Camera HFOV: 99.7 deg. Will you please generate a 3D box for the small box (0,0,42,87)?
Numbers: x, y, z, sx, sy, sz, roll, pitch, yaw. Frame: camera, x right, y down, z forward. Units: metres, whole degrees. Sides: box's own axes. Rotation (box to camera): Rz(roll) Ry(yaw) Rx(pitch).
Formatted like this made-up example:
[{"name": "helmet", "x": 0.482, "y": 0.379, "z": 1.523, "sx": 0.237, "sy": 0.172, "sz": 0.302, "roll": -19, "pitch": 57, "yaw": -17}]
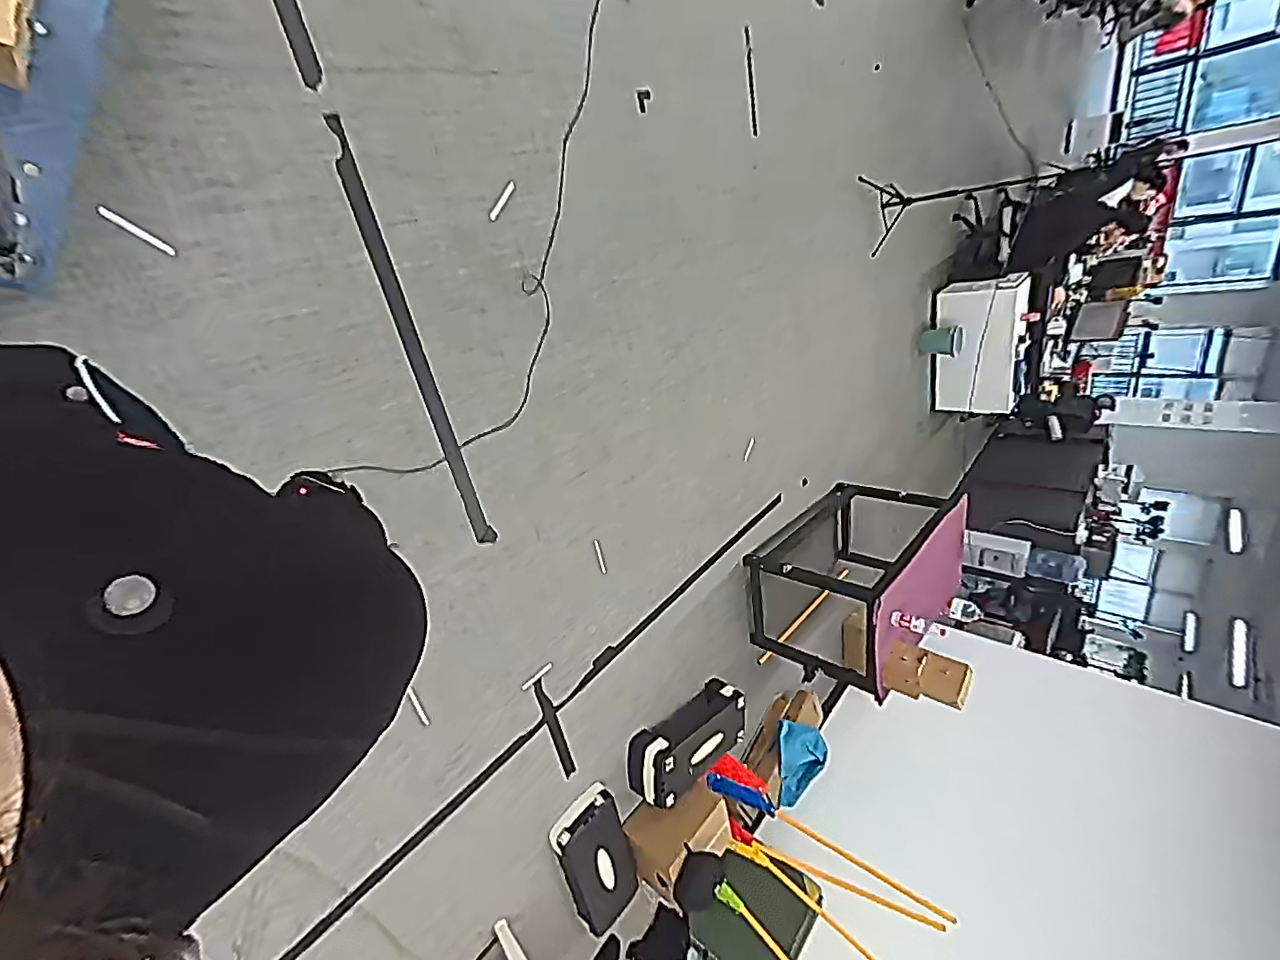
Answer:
[{"name": "small box", "x": -0.920, "y": -0.660, "z": 0.702, "sx": 0.179, "sy": 0.176, "sz": 0.168, "roll": 8, "pitch": 93, "yaw": -47}]
